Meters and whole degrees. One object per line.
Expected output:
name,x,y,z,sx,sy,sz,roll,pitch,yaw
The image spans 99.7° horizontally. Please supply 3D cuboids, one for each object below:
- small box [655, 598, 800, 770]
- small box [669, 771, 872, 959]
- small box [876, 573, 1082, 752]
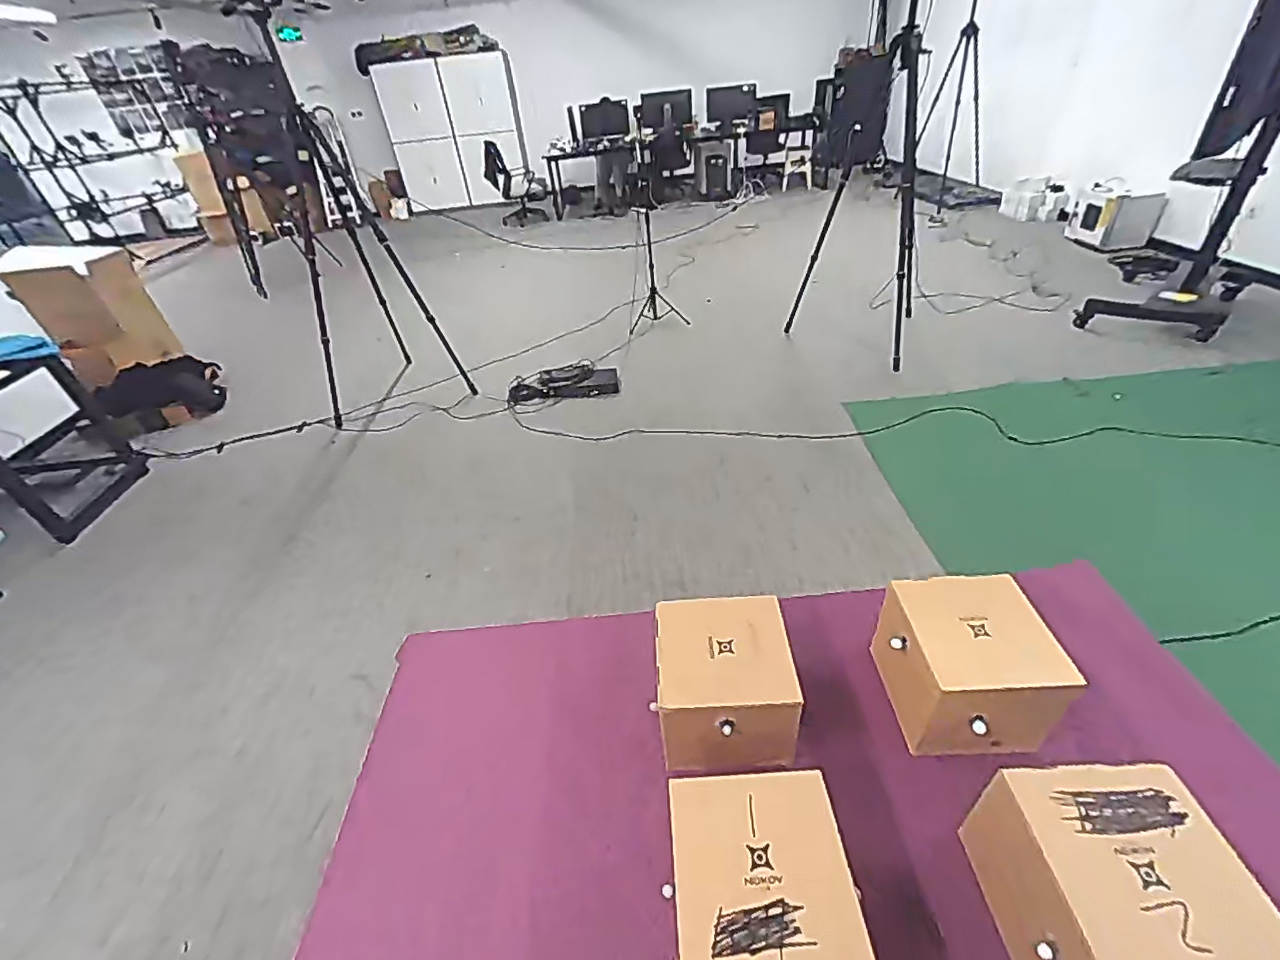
small box,0.116,0.287,0.759,0.179,0.176,0.168,-4,38,4
small box,0.121,0.432,0.556,0.168,0.176,0.179,-5,34,2
small box,0.442,0.254,0.742,0.168,0.176,0.179,-5,36,5
